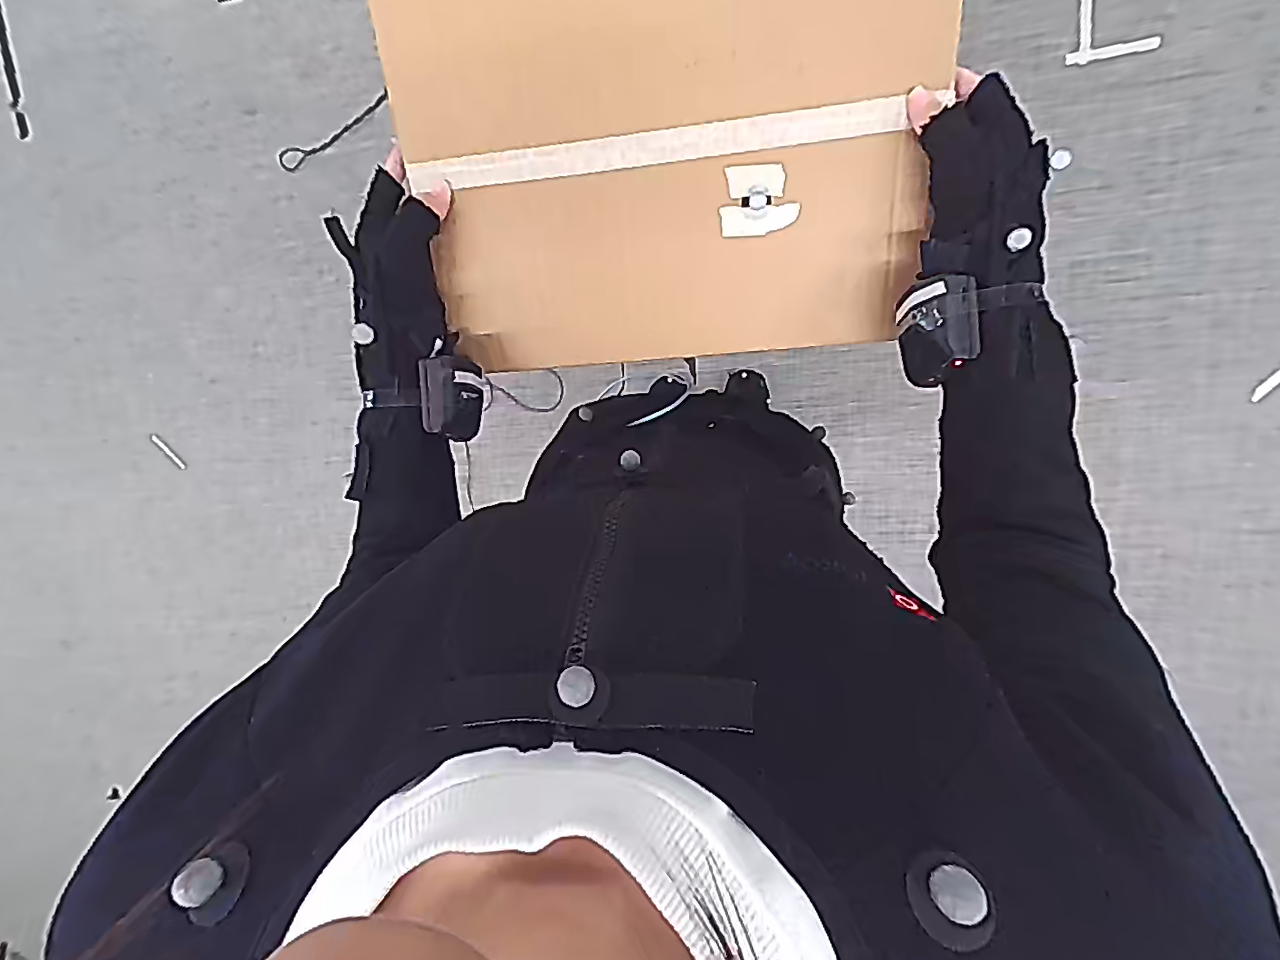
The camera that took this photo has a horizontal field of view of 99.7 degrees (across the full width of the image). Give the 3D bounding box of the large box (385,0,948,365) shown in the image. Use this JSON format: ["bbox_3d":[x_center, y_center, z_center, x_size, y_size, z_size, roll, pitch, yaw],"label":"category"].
[{"bbox_3d":[0.031,-0.315,0.553,0.408,0.320,0.320,-4,112,6],"label":"large box"}]
